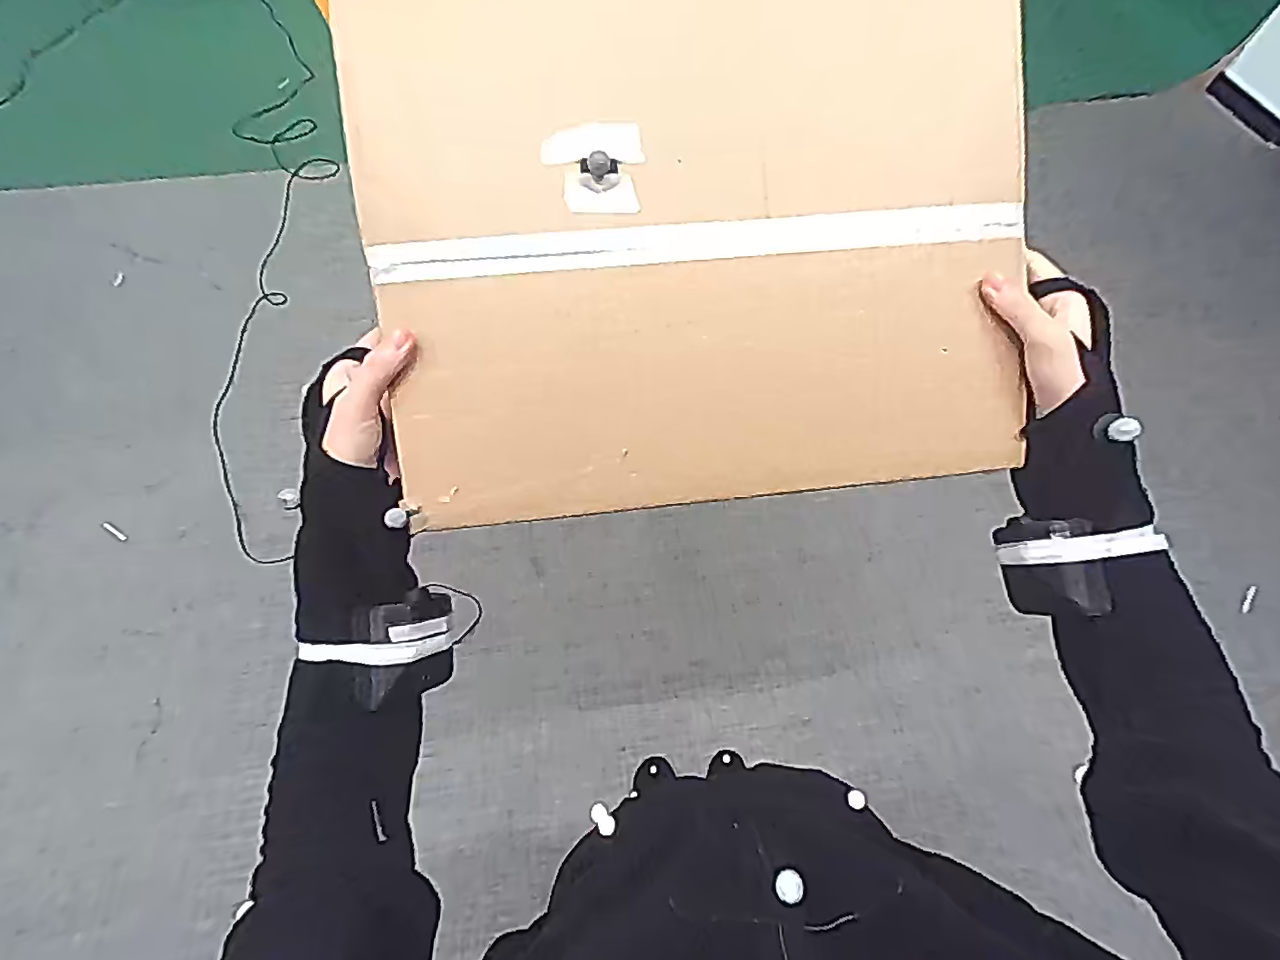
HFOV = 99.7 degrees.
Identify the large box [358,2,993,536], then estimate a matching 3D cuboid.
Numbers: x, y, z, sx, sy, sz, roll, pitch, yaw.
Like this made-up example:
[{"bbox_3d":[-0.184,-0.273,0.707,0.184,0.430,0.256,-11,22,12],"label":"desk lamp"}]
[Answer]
[{"bbox_3d":[0.030,-0.152,0.503,0.408,0.320,0.320,-6,95,-4],"label":"large box"}]
